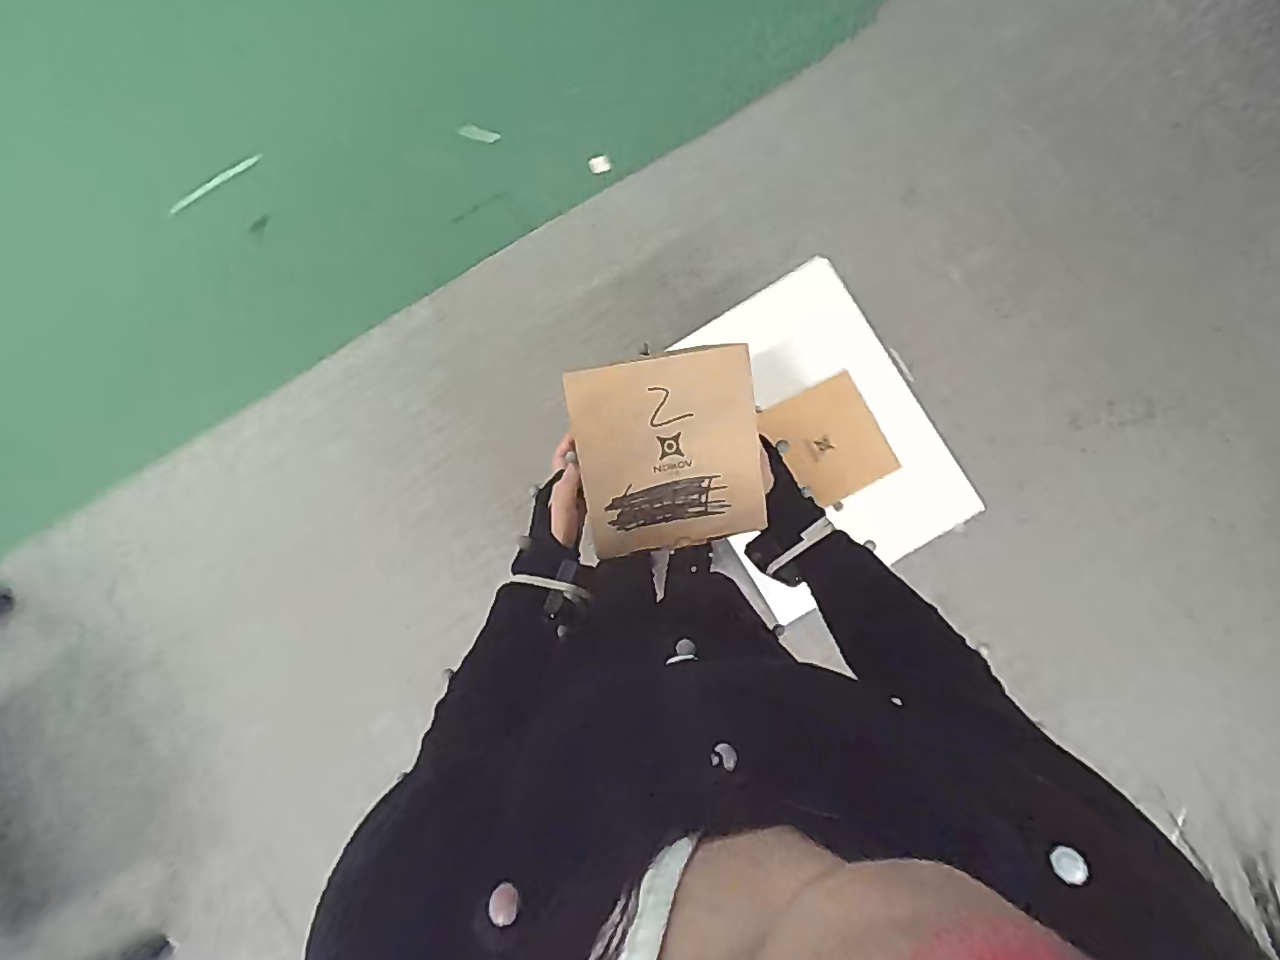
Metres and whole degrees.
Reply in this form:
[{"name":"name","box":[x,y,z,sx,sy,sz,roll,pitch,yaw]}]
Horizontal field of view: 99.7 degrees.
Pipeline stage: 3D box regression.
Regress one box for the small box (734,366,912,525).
[{"name":"small box","box":[0.262,-0.045,0.820,0.179,0.176,0.168,-28,86,1]}]
